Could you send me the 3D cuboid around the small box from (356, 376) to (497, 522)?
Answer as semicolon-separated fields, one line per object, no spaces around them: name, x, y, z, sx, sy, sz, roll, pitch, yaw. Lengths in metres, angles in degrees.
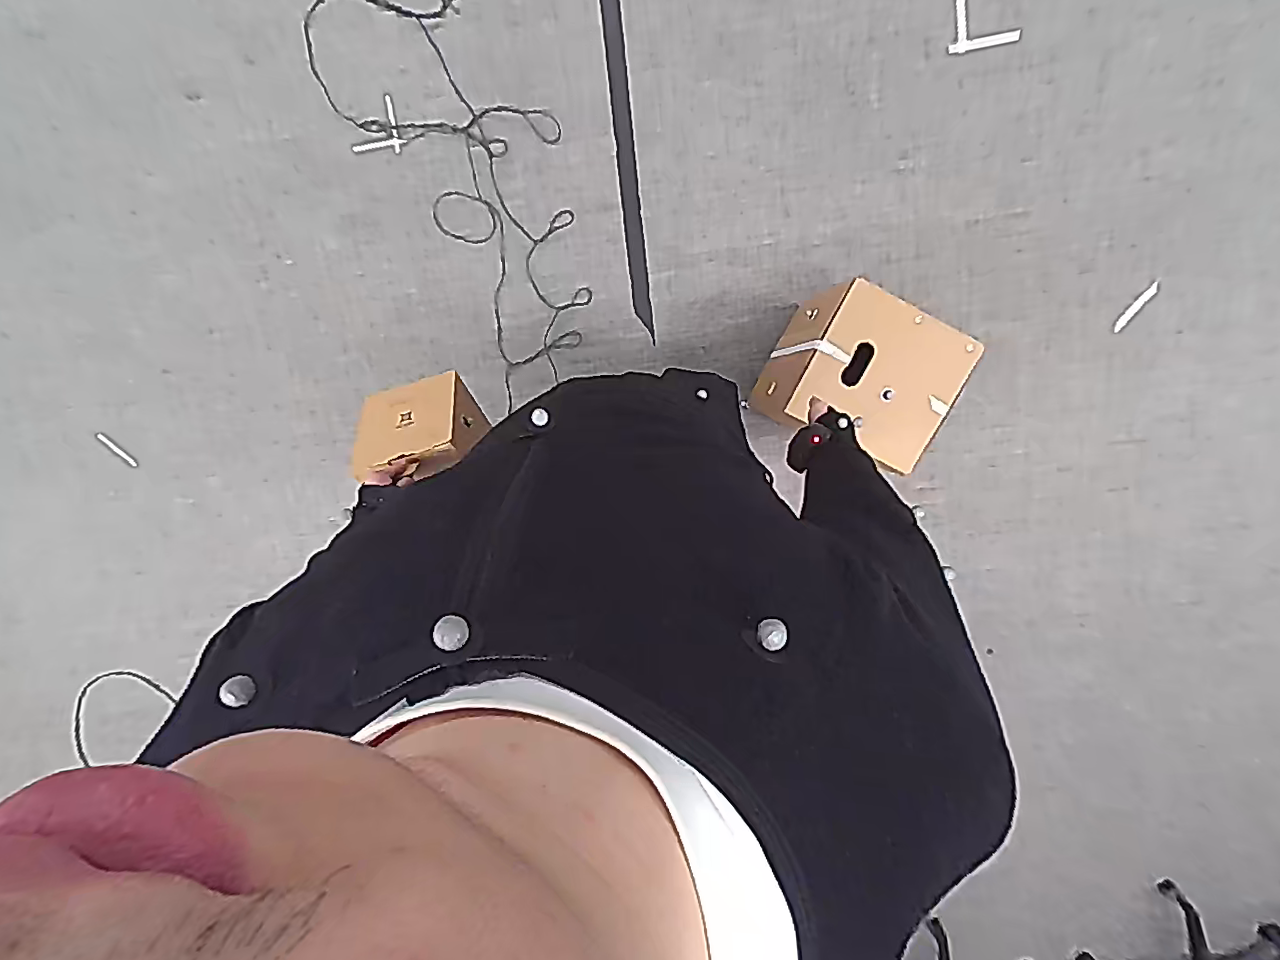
small box;-0.358;-0.046;0.942;0.168;0.179;0.176;-16;140;3
